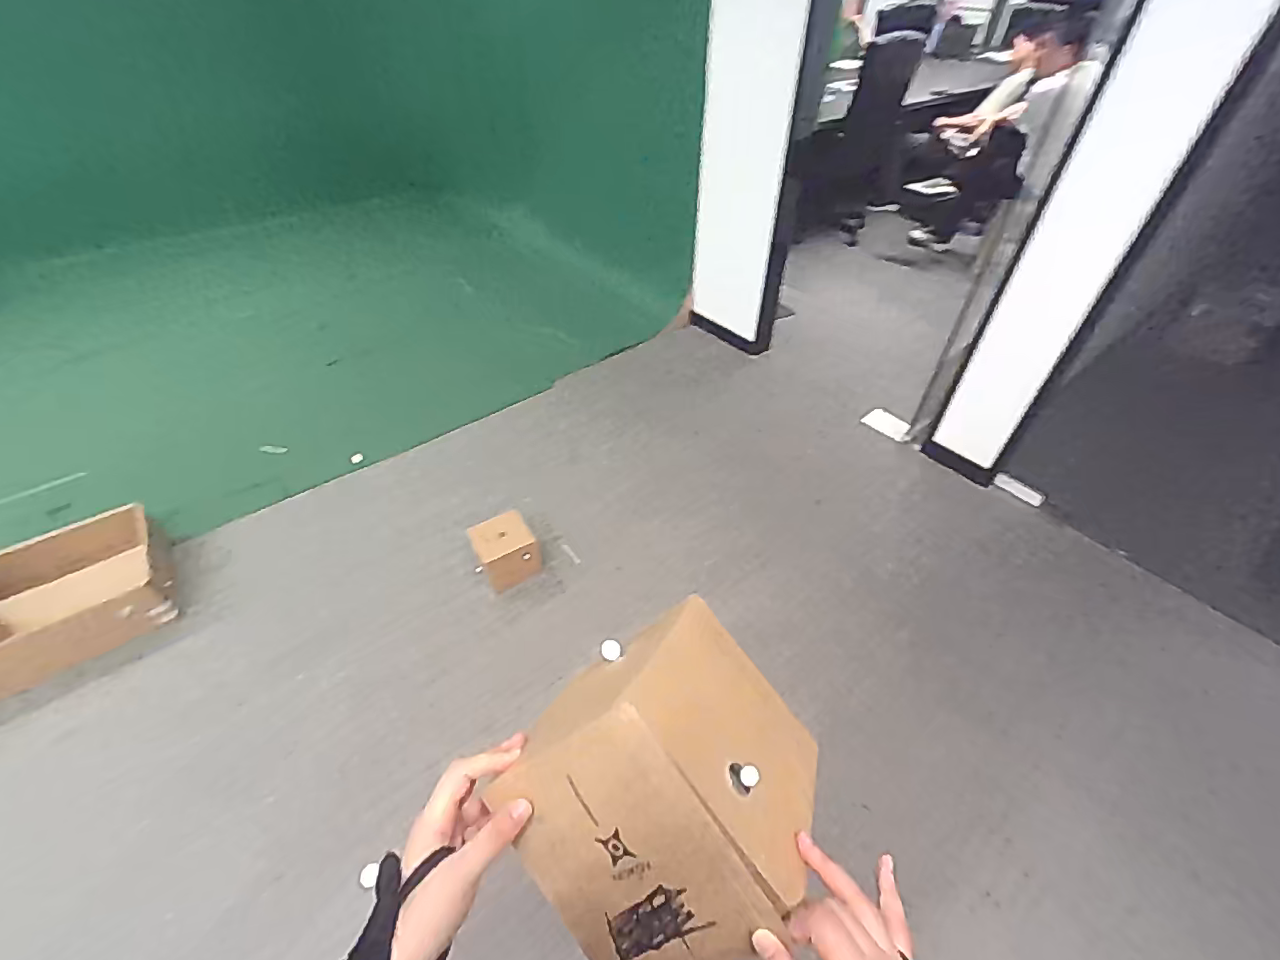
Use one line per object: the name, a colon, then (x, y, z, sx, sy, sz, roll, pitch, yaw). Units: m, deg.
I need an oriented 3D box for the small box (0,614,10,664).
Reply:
small box: (-1.893, 0.436, 1.477, 0.168, 0.176, 0.179, -31, 54, -27)

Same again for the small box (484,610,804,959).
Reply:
small box: (0.018, 0.241, 0.447, 0.179, 0.168, 0.176, 53, 22, 4)

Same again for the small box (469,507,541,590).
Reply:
small box: (-0.436, 0.227, 1.773, 0.179, 0.176, 0.168, -24, 49, -23)
